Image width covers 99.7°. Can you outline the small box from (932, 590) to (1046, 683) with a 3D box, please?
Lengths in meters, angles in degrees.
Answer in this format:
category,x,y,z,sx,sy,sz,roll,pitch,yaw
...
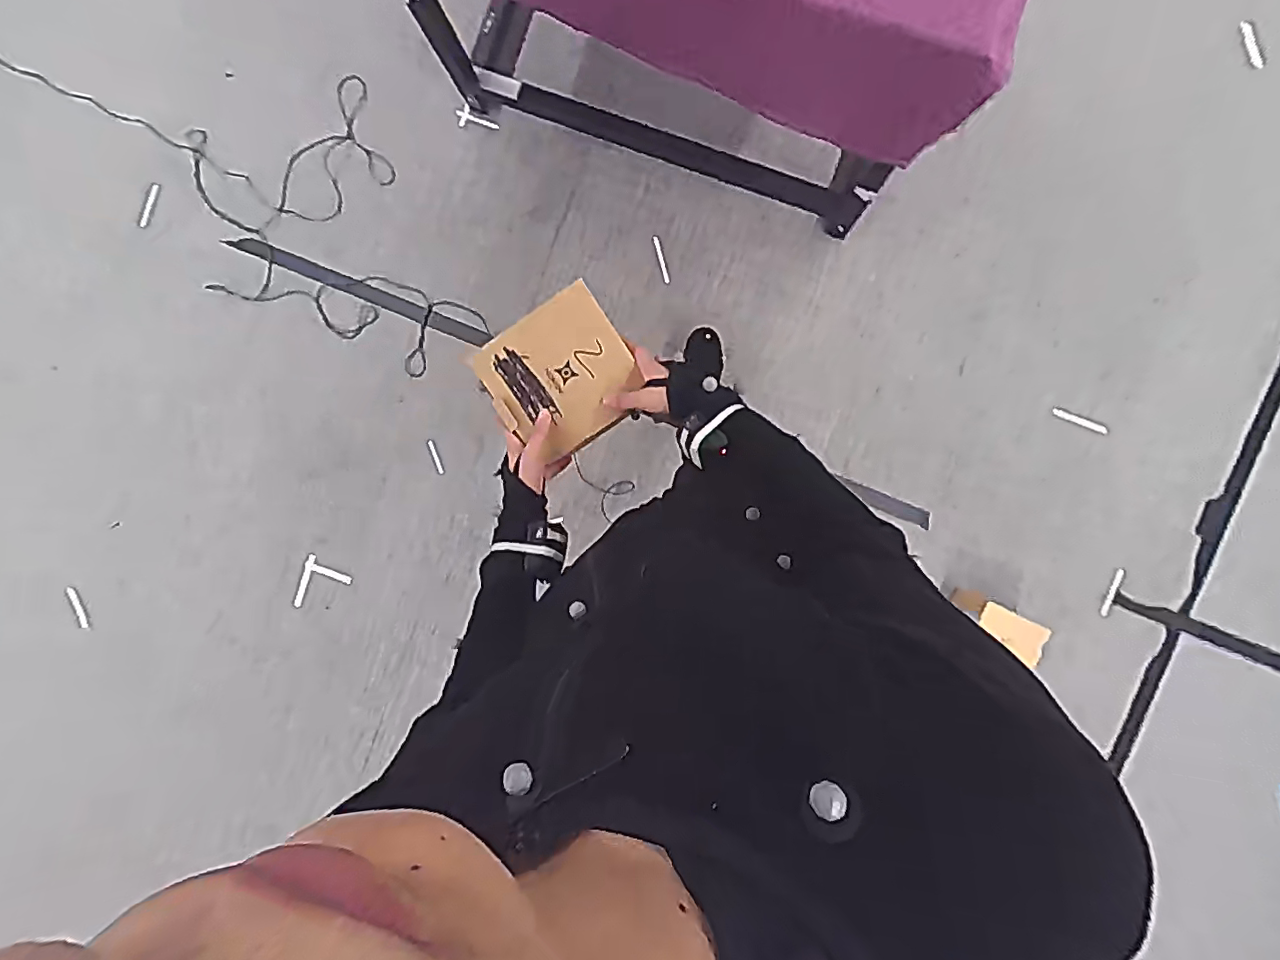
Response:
category,x,y,z,sx,sy,sz,roll,pitch,yaw
small box,0.944,0.417,1.482,0.179,0.176,0.168,26,94,3
